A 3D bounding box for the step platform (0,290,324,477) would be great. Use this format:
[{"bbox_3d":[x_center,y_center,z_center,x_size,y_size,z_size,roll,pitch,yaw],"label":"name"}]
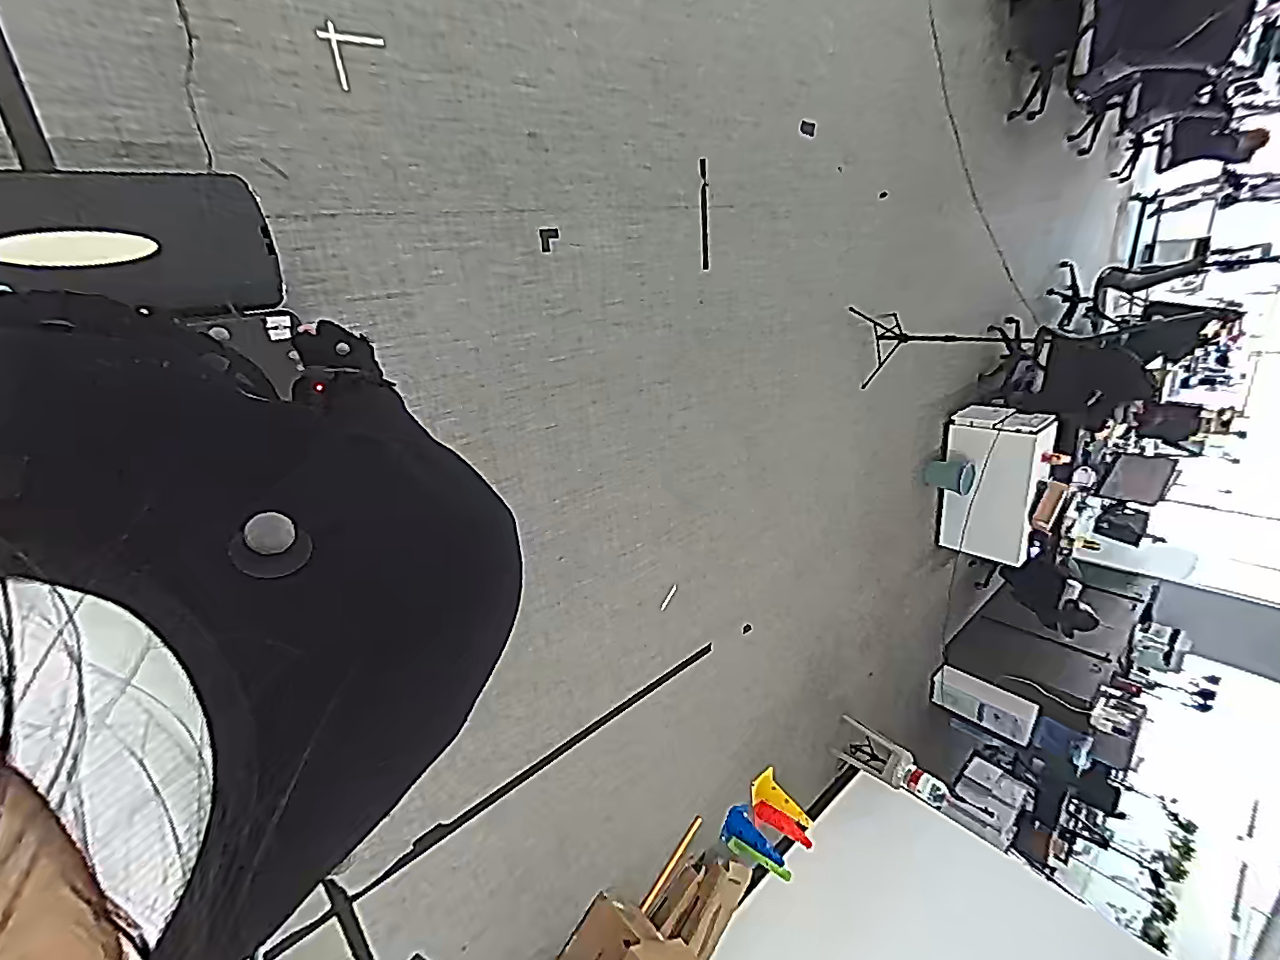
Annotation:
[{"bbox_3d":[-1.061,-0.217,1.131,0.684,0.204,0.286,-22,115,-34],"label":"step platform"}]
